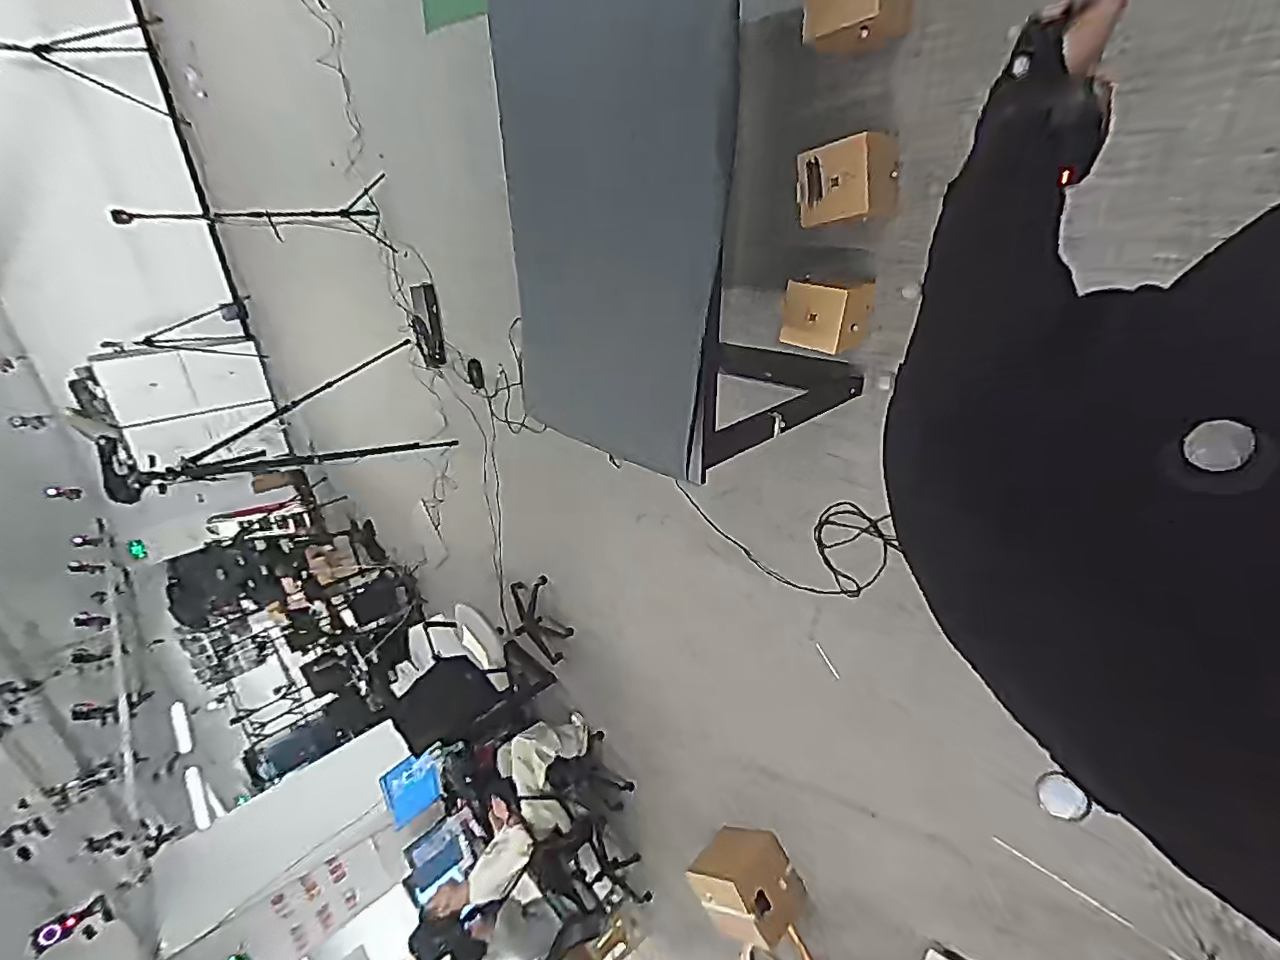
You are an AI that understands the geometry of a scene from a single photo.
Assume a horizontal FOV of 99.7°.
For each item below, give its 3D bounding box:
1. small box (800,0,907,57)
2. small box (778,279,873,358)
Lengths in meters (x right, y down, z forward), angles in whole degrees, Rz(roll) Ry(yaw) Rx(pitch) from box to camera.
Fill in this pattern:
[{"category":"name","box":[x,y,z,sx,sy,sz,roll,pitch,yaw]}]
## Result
[{"category":"small box","box":[0.475,-1.061,1.184,0.179,0.176,0.168,18,121,43]},{"category":"small box","box":[0.506,-0.447,1.474,0.179,0.176,0.168,28,129,38]}]
